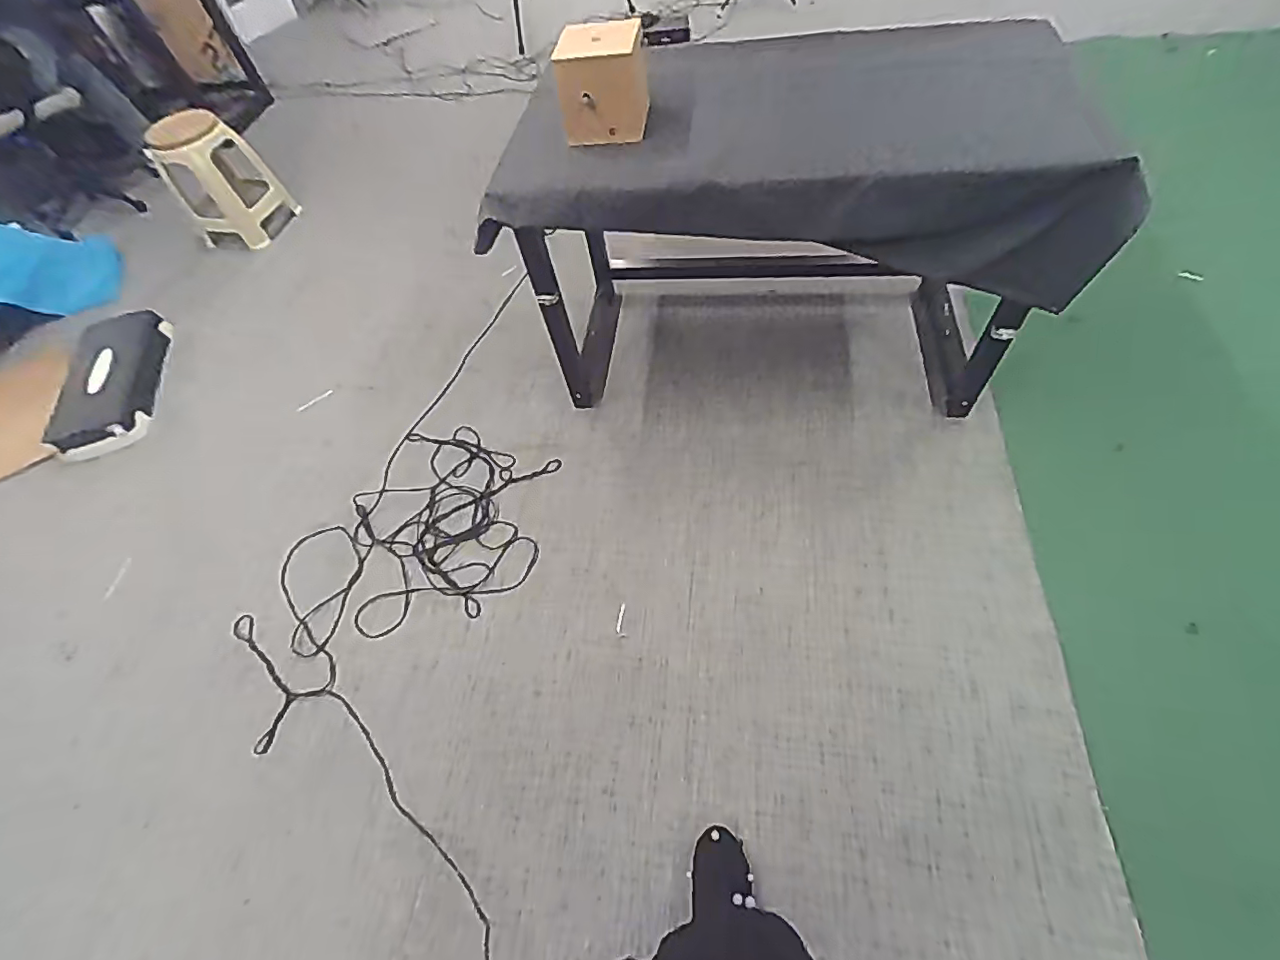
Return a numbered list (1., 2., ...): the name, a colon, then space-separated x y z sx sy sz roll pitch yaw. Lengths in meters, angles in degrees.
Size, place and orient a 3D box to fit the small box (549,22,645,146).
1. small box: -0.083 -0.844 1.167 0.168 0.176 0.179 1 56 9
